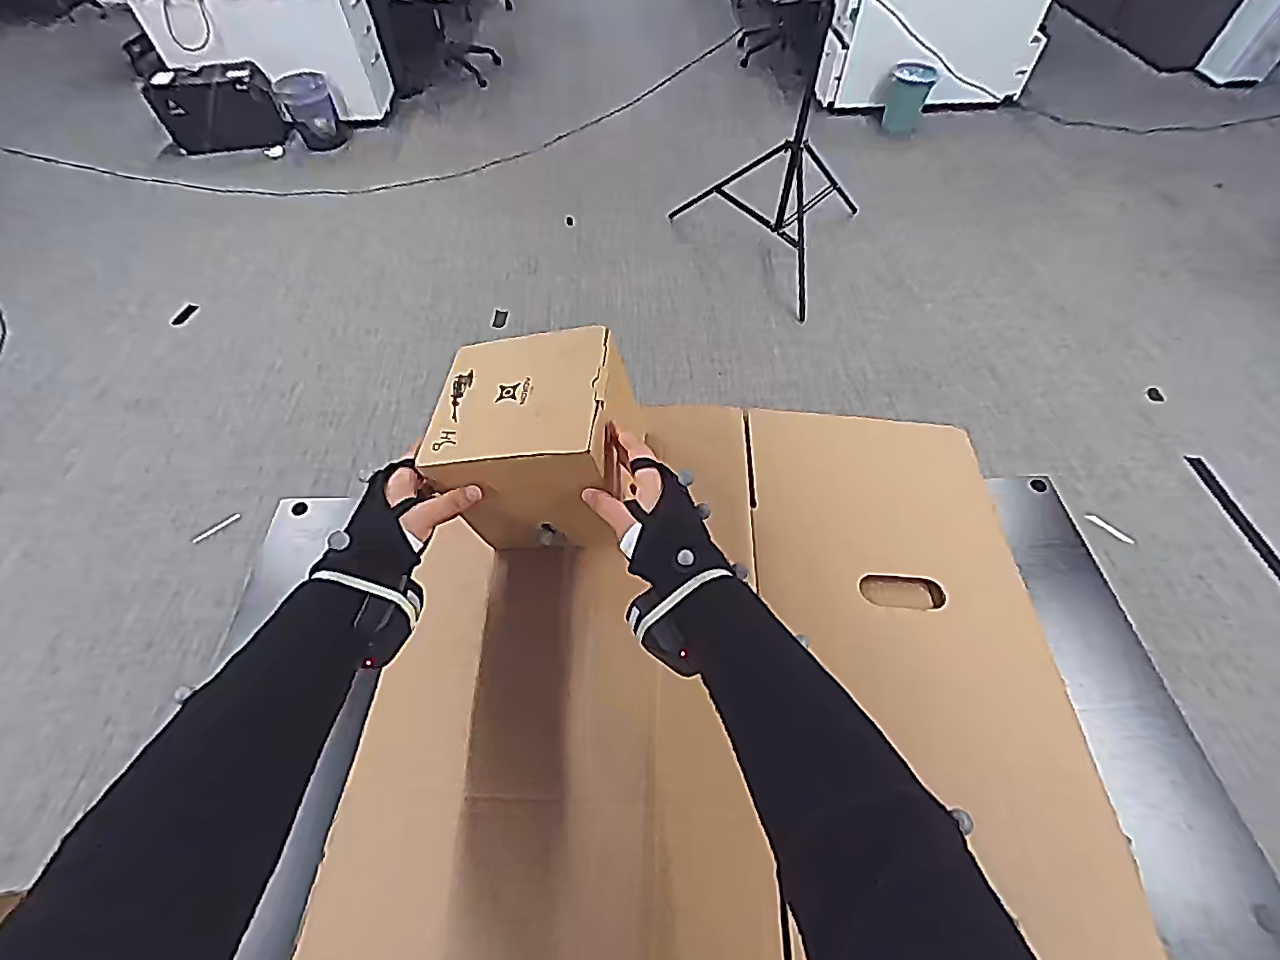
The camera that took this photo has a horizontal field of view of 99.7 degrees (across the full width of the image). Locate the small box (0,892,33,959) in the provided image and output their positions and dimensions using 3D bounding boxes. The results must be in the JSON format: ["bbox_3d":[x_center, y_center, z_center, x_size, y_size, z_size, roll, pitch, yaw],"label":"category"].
[{"bbox_3d":[-1.199,0.811,0.898,0.168,0.176,0.179,-7,55,-6],"label":"small box"}]

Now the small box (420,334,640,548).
[{"bbox_3d":[-0.101,-0.035,0.600,0.179,0.176,0.168,-4,53,12],"label":"small box"}]
